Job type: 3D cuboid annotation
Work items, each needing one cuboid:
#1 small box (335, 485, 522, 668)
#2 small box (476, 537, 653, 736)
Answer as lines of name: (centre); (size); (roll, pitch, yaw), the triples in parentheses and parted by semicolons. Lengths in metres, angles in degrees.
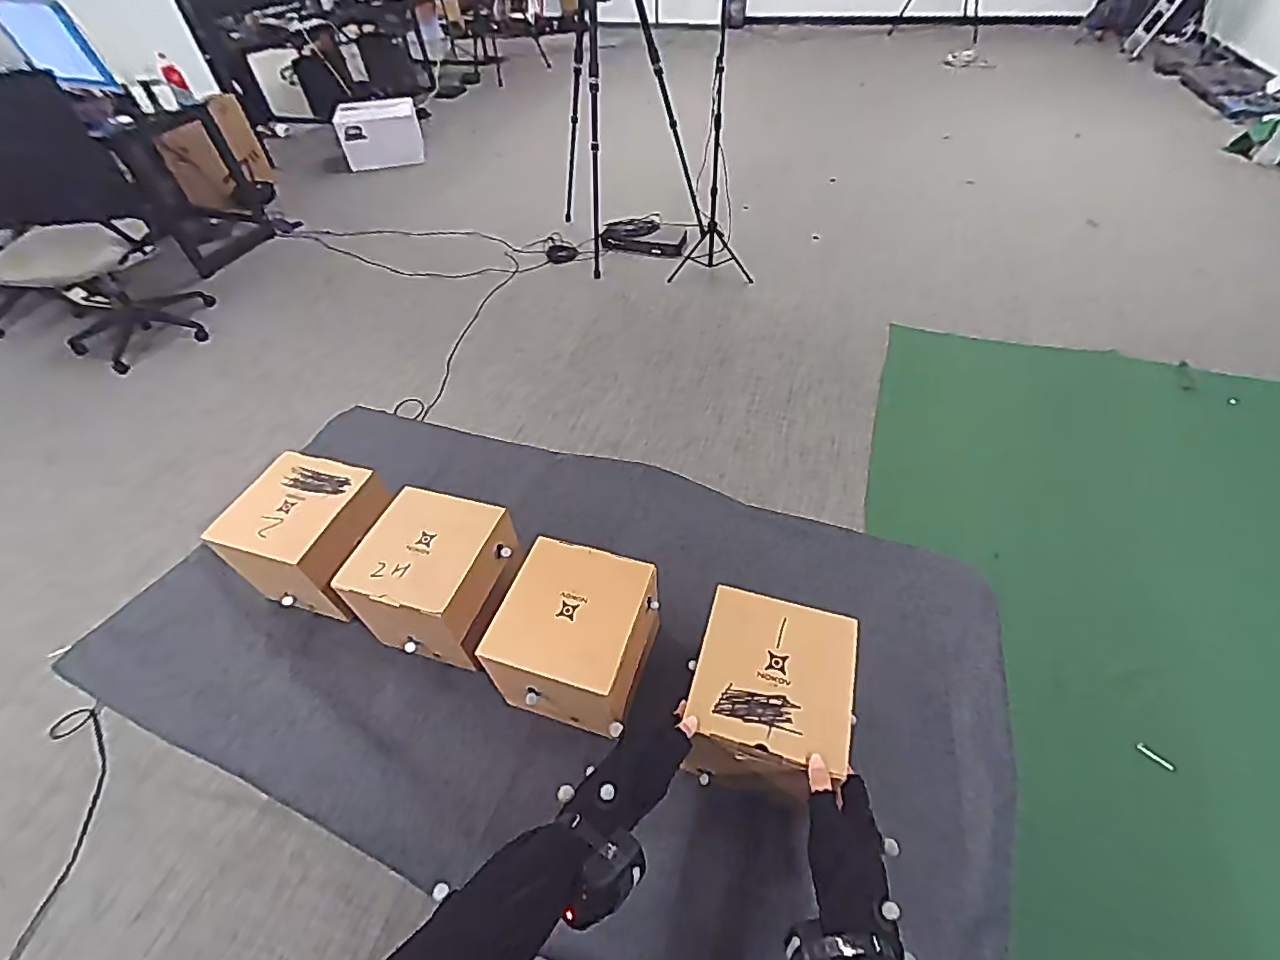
small box: (-0.284, 0.138, 0.778); (0.168, 0.176, 0.179); (12, 50, 13)
small box: (-0.082, 0.207, 0.709); (0.168, 0.176, 0.179); (12, 49, 14)
